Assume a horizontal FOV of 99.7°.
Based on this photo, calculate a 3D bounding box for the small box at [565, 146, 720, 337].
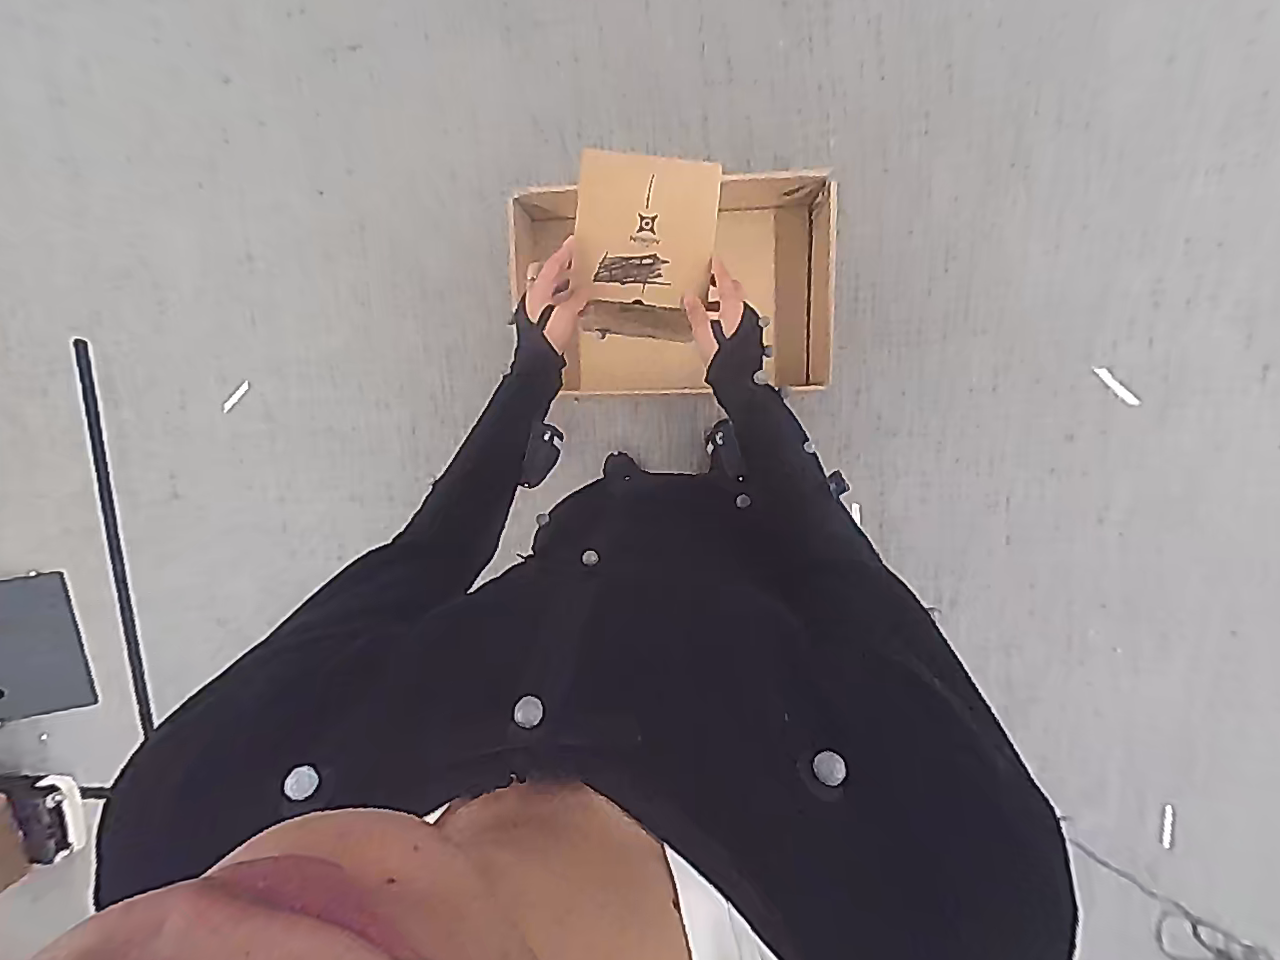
[{"bbox_3d":[0.003,-0.294,0.708,0.168,0.176,0.179,6,92,-1],"label":"small box"}]
